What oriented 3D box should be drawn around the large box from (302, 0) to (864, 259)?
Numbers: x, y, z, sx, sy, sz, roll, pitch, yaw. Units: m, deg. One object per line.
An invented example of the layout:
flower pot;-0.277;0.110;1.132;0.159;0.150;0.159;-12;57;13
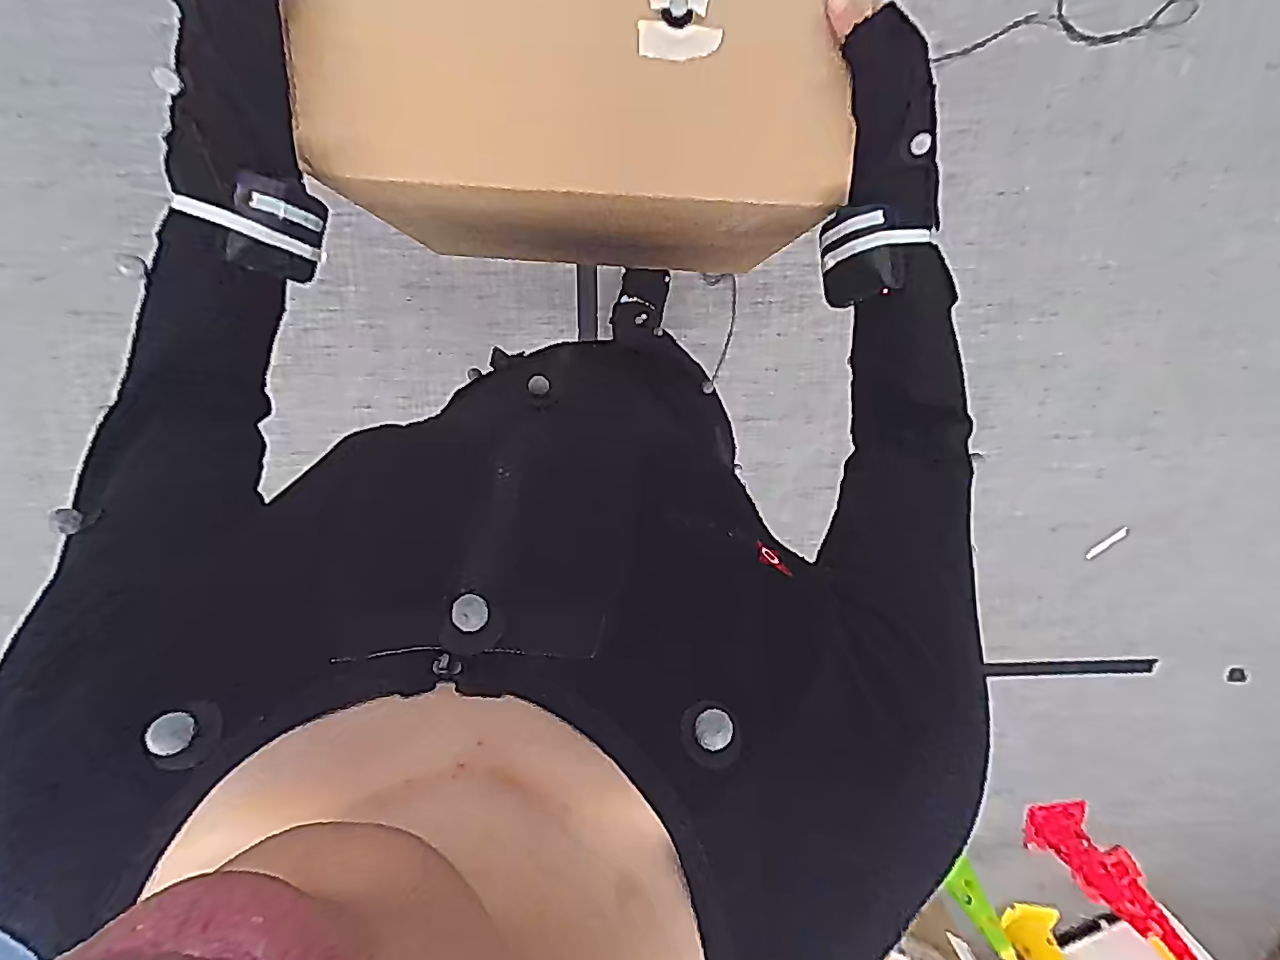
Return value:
large box;-0.043;-0.410;0.519;0.408;0.320;0.320;2;102;-4
